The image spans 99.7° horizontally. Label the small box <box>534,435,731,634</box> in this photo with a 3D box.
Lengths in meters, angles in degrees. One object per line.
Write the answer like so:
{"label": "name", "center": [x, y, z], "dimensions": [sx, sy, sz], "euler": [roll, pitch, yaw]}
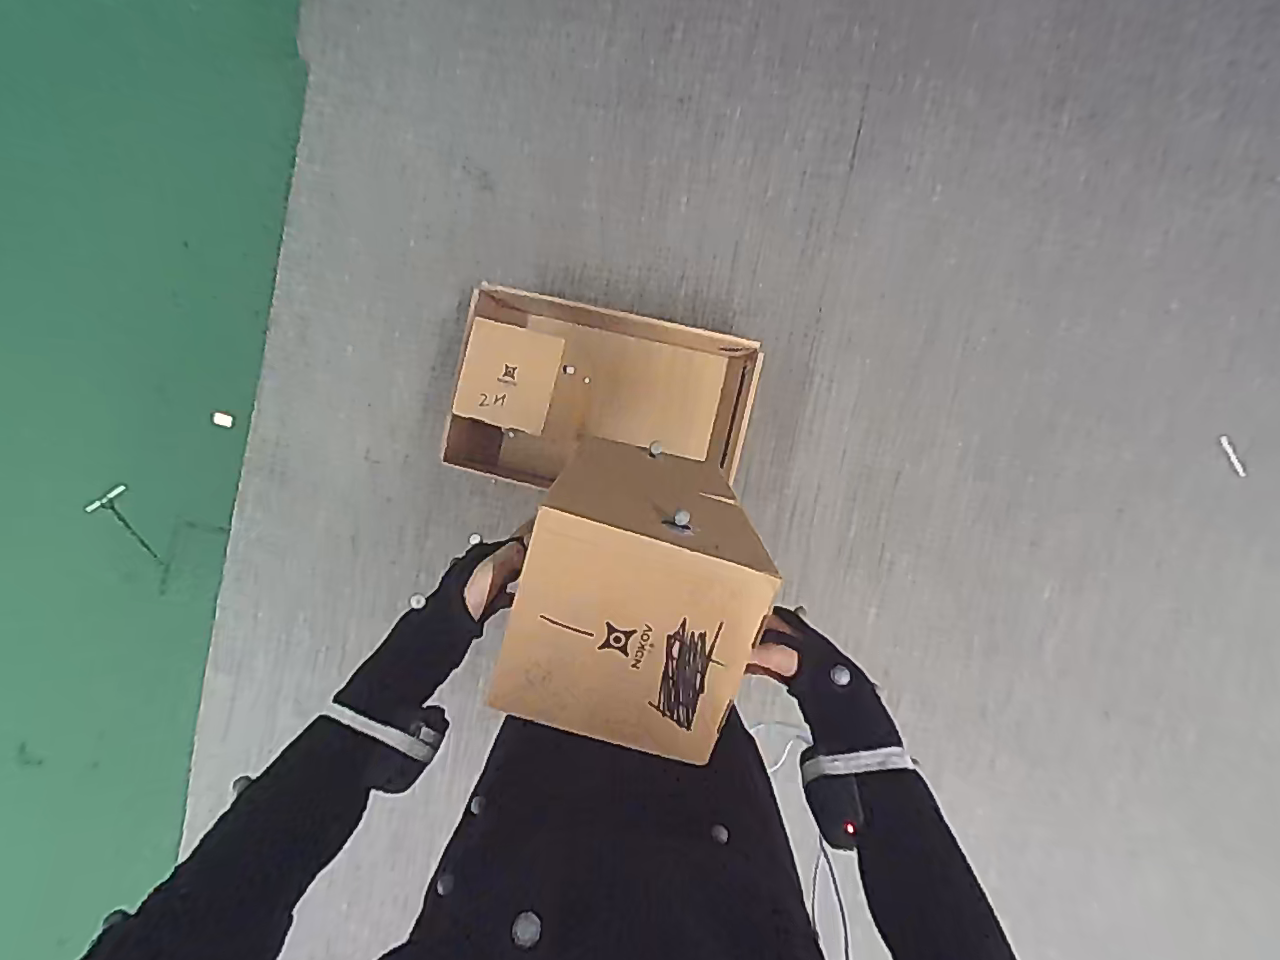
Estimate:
{"label": "small box", "center": [-0.005, 0.050, 0.631], "dimensions": [0.179, 0.176, 0.168], "euler": [13, 104, 1]}

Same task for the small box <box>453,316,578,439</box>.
{"label": "small box", "center": [-0.223, -0.184, 1.017], "dimensions": [0.168, 0.176, 0.179], "euler": [16, 93, 4]}
